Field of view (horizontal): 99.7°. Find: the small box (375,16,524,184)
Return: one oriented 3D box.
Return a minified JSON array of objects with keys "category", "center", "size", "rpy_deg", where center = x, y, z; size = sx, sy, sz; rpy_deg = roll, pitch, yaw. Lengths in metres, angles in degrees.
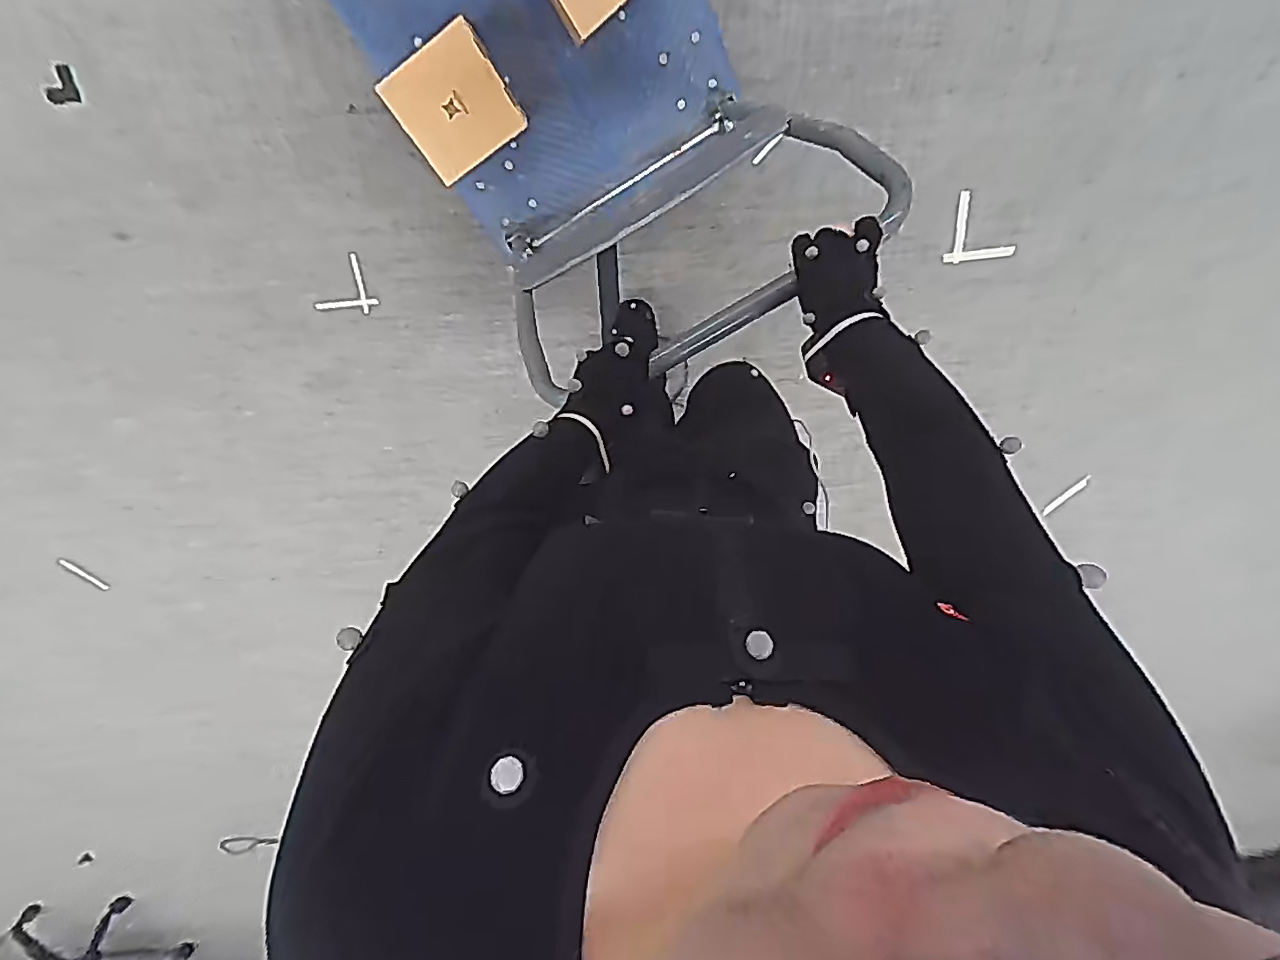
[{"category":"small box","center":[-0.317,-0.650,0.939],"size":[0.179,0.176,0.168],"rpy_deg":[-32,125,10]}]

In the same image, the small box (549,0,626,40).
[{"category":"small box","center":[-0.082,-0.835,0.849],"size":[0.179,0.176,0.168],"rpy_deg":[-34,125,14]}]
